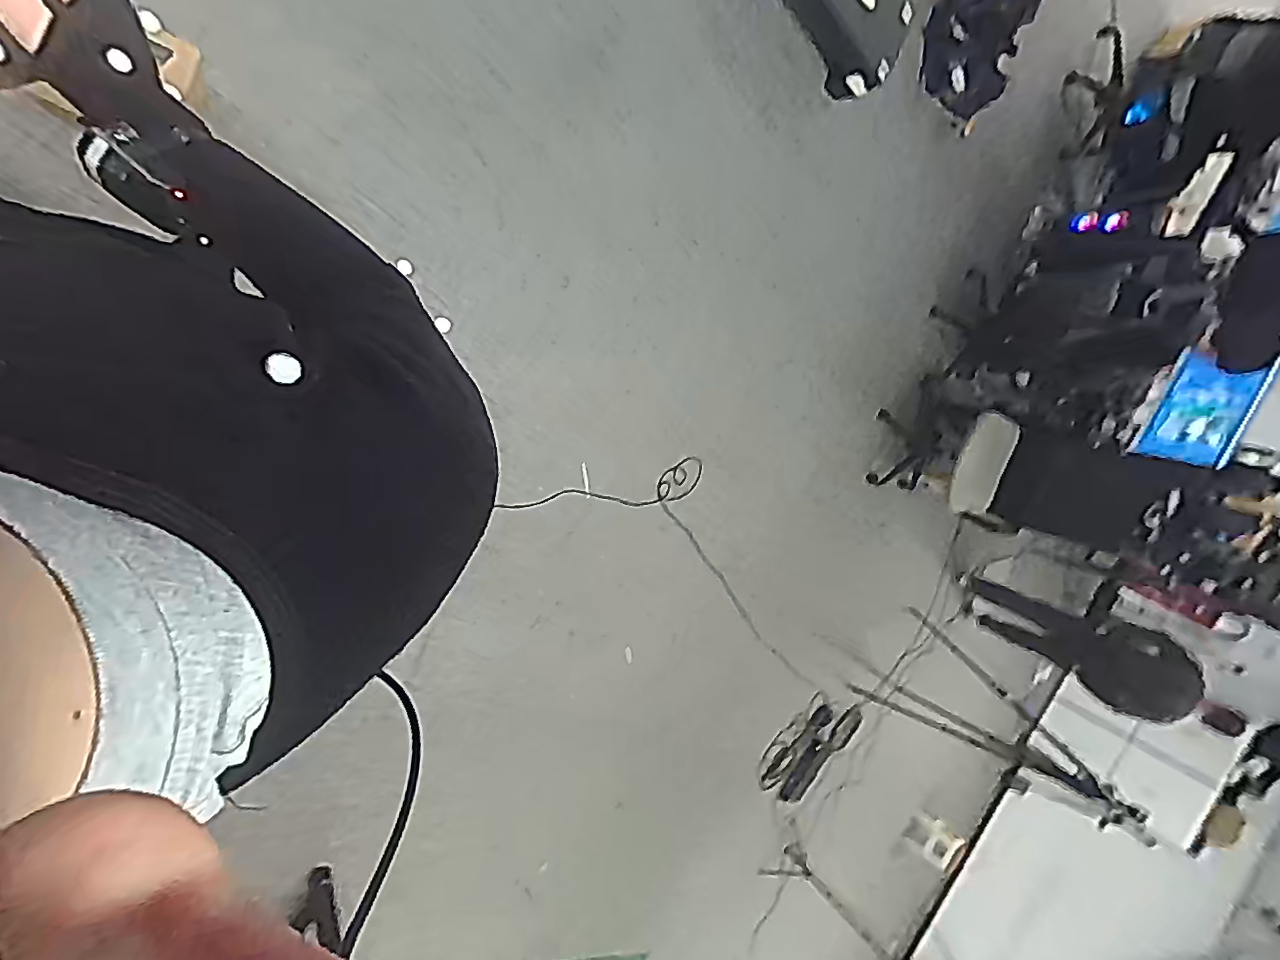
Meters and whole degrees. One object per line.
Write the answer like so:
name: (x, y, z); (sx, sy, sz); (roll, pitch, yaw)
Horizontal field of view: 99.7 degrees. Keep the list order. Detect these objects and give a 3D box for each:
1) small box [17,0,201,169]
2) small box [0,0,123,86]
small box: (-0.823, -0.628, 0.856); (0.168, 0.176, 0.179); (18, 98, -41)
small box: (-0.555, -0.420, 0.395); (0.168, 0.176, 0.179); (-22, 109, -8)
